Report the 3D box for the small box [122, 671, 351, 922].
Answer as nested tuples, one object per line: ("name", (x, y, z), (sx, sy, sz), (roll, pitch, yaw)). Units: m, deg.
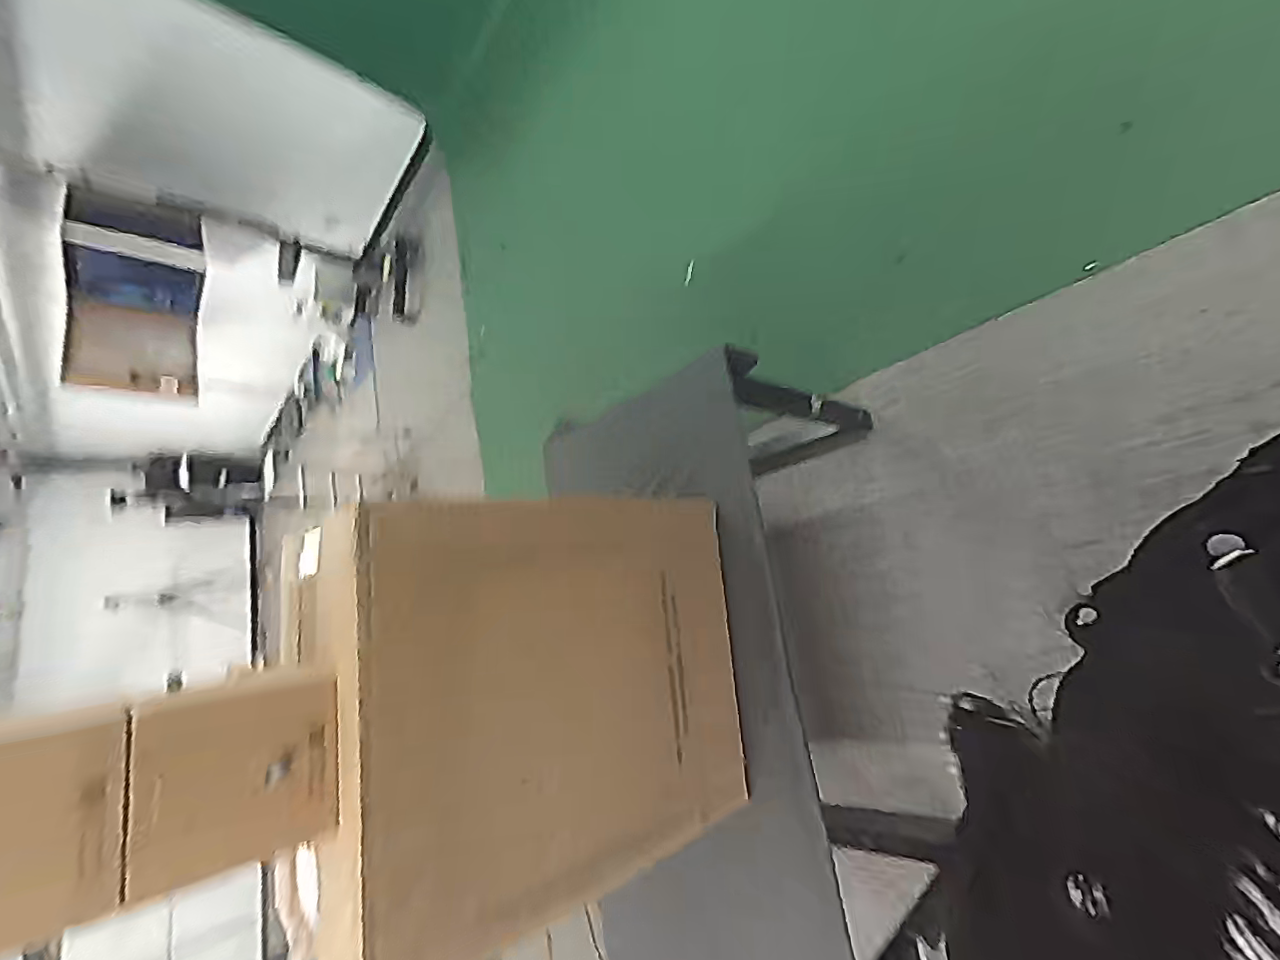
("small box", (-0.423, 0.306, 0.572), (0.179, 0.176, 0.168), (-16, 77, 42))
